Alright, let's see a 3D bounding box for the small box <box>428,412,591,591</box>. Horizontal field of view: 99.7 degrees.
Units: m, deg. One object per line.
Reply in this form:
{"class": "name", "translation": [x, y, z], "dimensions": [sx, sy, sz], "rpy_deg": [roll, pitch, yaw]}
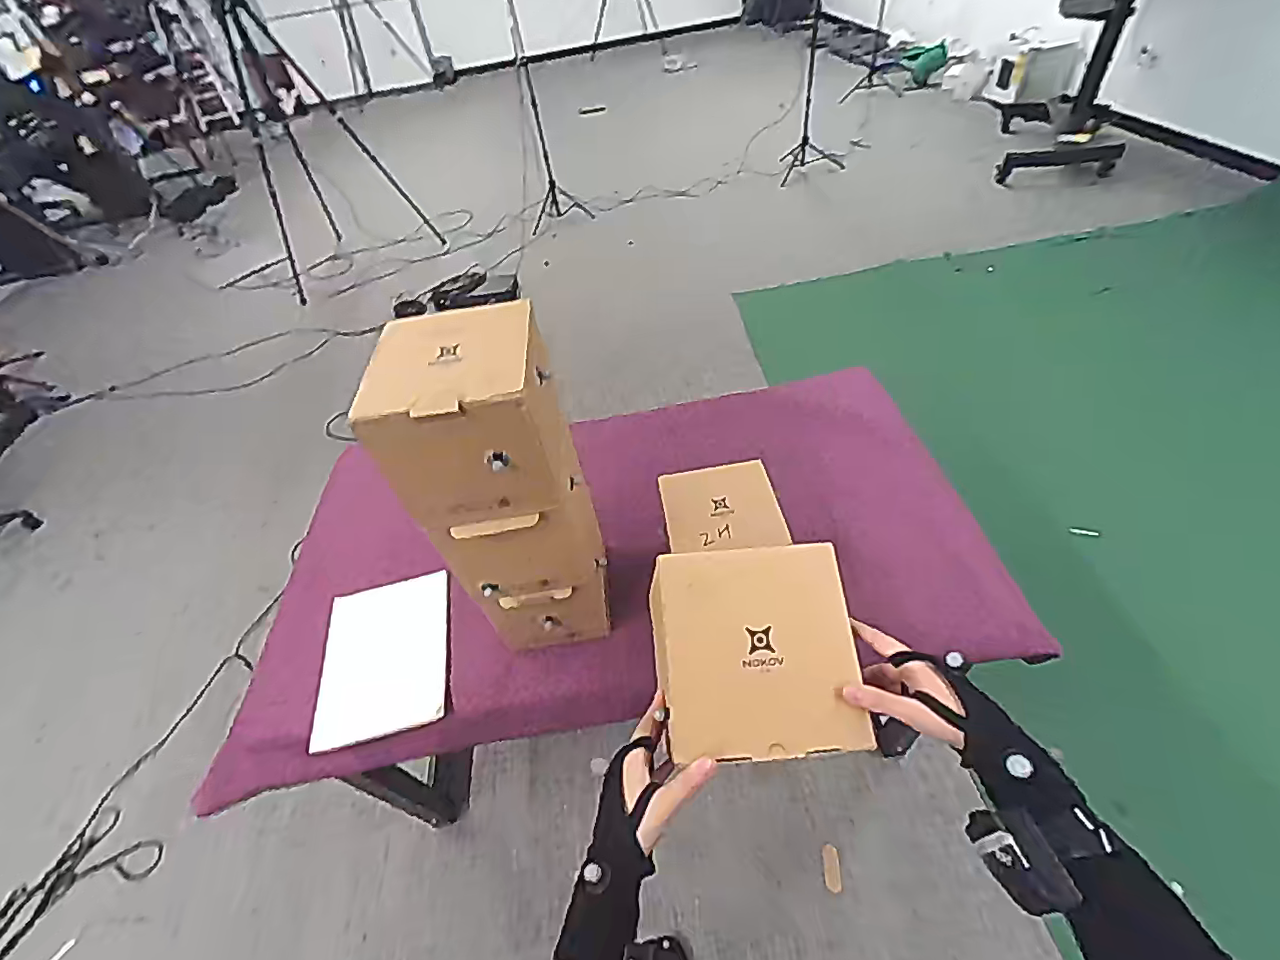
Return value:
{"class": "small box", "translation": [-0.163, 0.036, 0.734], "dimensions": [0.168, 0.176, 0.179], "rpy_deg": [-9, 46, 1]}

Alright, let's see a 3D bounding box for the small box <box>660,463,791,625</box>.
{"class": "small box", "translation": [0.128, 0.101, 0.849], "dimensions": [0.168, 0.176, 0.179], "rpy_deg": [-10, 46, 2]}

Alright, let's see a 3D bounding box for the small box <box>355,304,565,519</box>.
{"class": "small box", "translation": [-0.182, -0.070, 0.612], "dimensions": [0.168, 0.176, 0.179], "rpy_deg": [-8, 46, 1]}

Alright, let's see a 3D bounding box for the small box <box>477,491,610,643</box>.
{"class": "small box", "translation": [-0.144, 0.143, 0.859], "dimensions": [0.168, 0.176, 0.179], "rpy_deg": [-9, 47, 1]}
